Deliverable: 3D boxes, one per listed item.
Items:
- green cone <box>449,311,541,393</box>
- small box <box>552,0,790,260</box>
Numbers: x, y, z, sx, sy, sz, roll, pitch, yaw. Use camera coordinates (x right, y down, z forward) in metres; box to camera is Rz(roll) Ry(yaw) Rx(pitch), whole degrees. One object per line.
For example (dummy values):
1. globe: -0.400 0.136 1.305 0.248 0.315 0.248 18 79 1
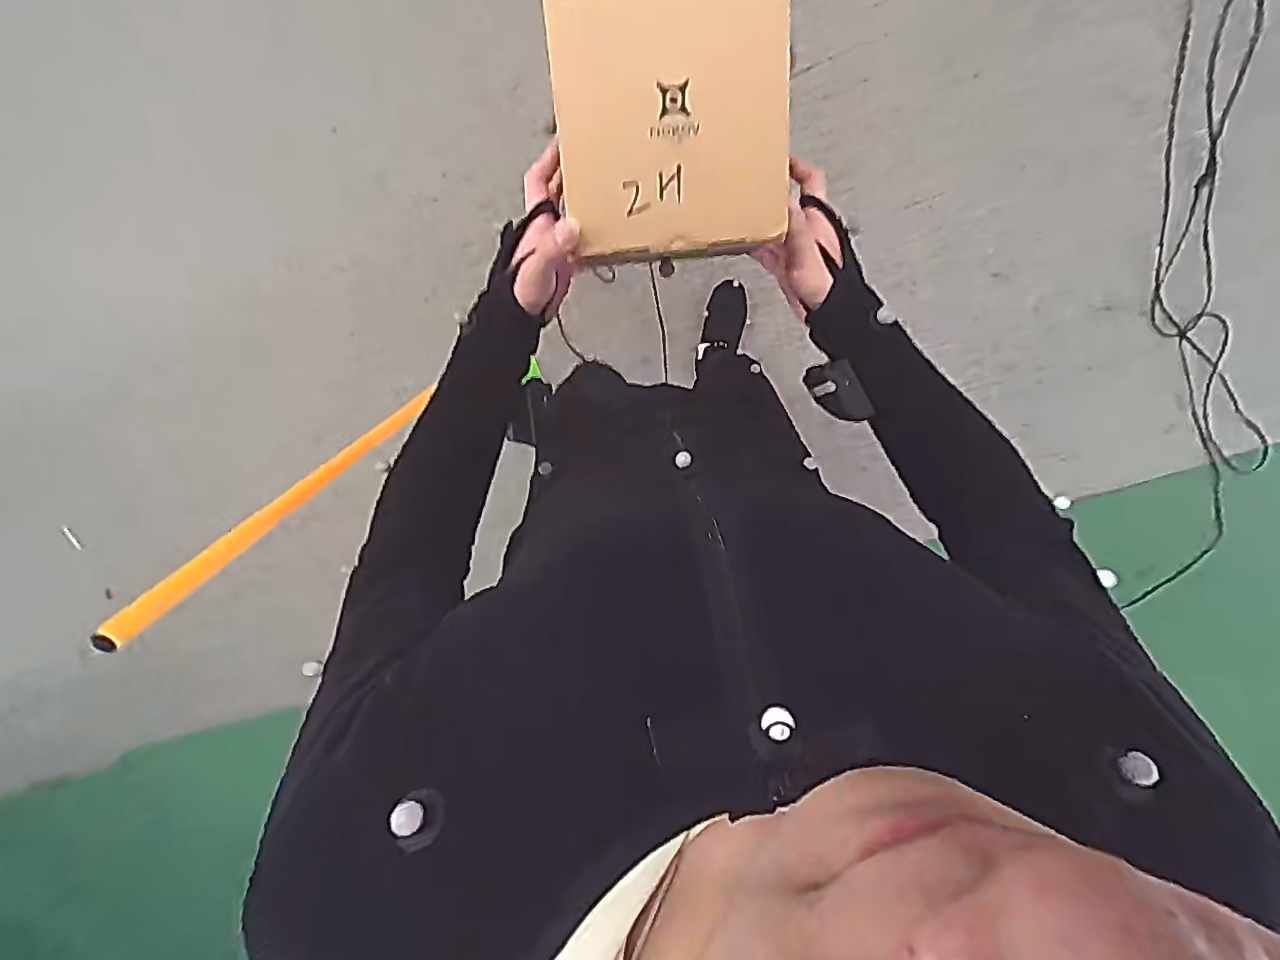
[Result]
1. green cone: -0.417 -0.310 1.414 0.202 0.368 0.200 -16 109 8
2. small box: 0.021 -0.291 0.461 0.168 0.176 0.179 -4 109 0
